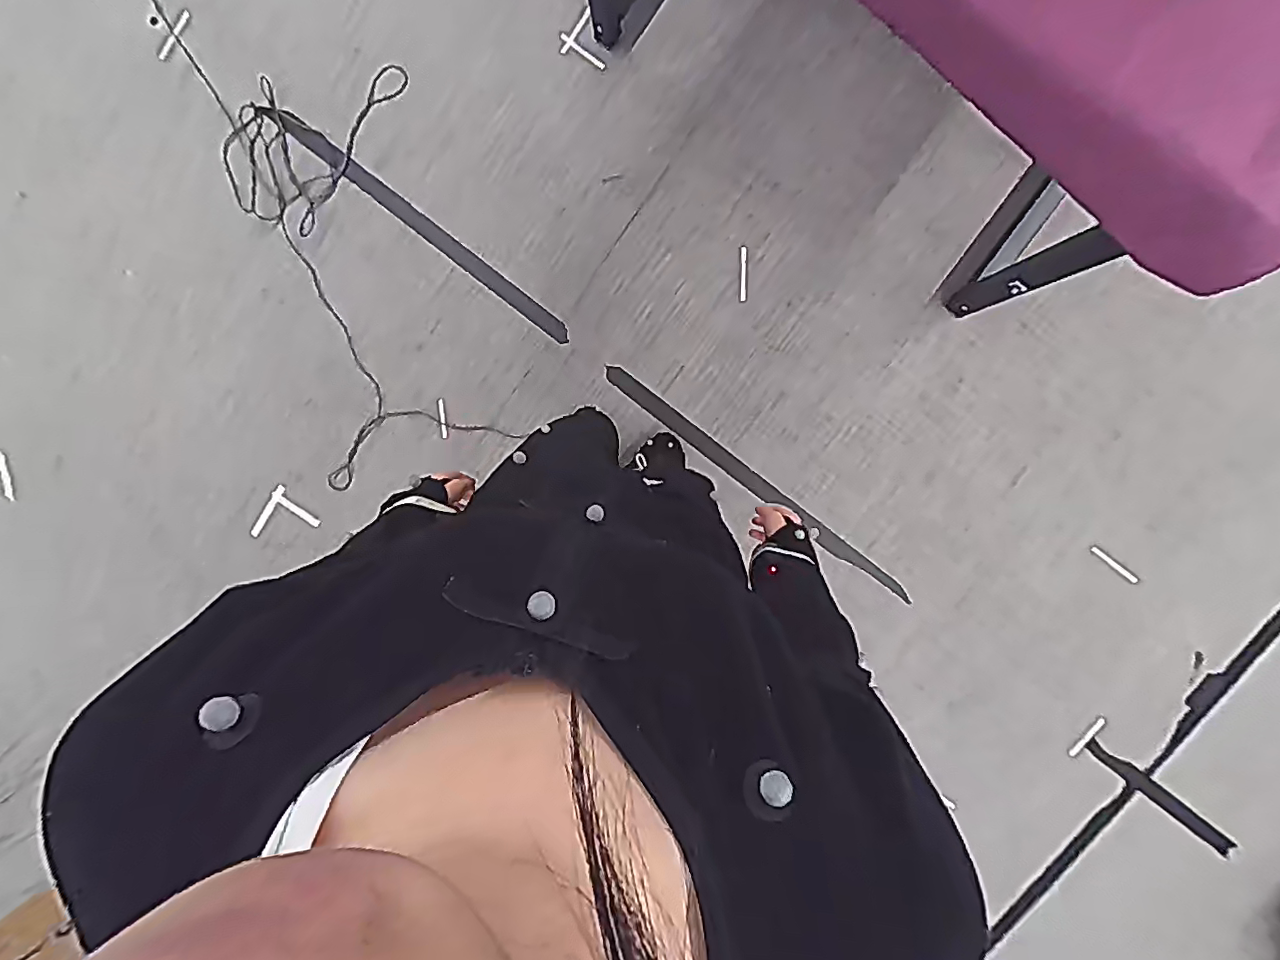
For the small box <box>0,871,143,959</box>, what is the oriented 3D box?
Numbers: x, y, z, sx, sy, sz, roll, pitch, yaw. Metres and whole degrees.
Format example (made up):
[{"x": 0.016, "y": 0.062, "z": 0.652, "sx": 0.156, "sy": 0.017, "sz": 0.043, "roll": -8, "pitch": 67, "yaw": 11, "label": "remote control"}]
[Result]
[{"x": -0.999, "y": 0.815, "z": 0.904, "sx": 0.168, "sy": 0.176, "sz": 0.179, "roll": 29, "pitch": 96, "yaw": 1, "label": "small box"}]
